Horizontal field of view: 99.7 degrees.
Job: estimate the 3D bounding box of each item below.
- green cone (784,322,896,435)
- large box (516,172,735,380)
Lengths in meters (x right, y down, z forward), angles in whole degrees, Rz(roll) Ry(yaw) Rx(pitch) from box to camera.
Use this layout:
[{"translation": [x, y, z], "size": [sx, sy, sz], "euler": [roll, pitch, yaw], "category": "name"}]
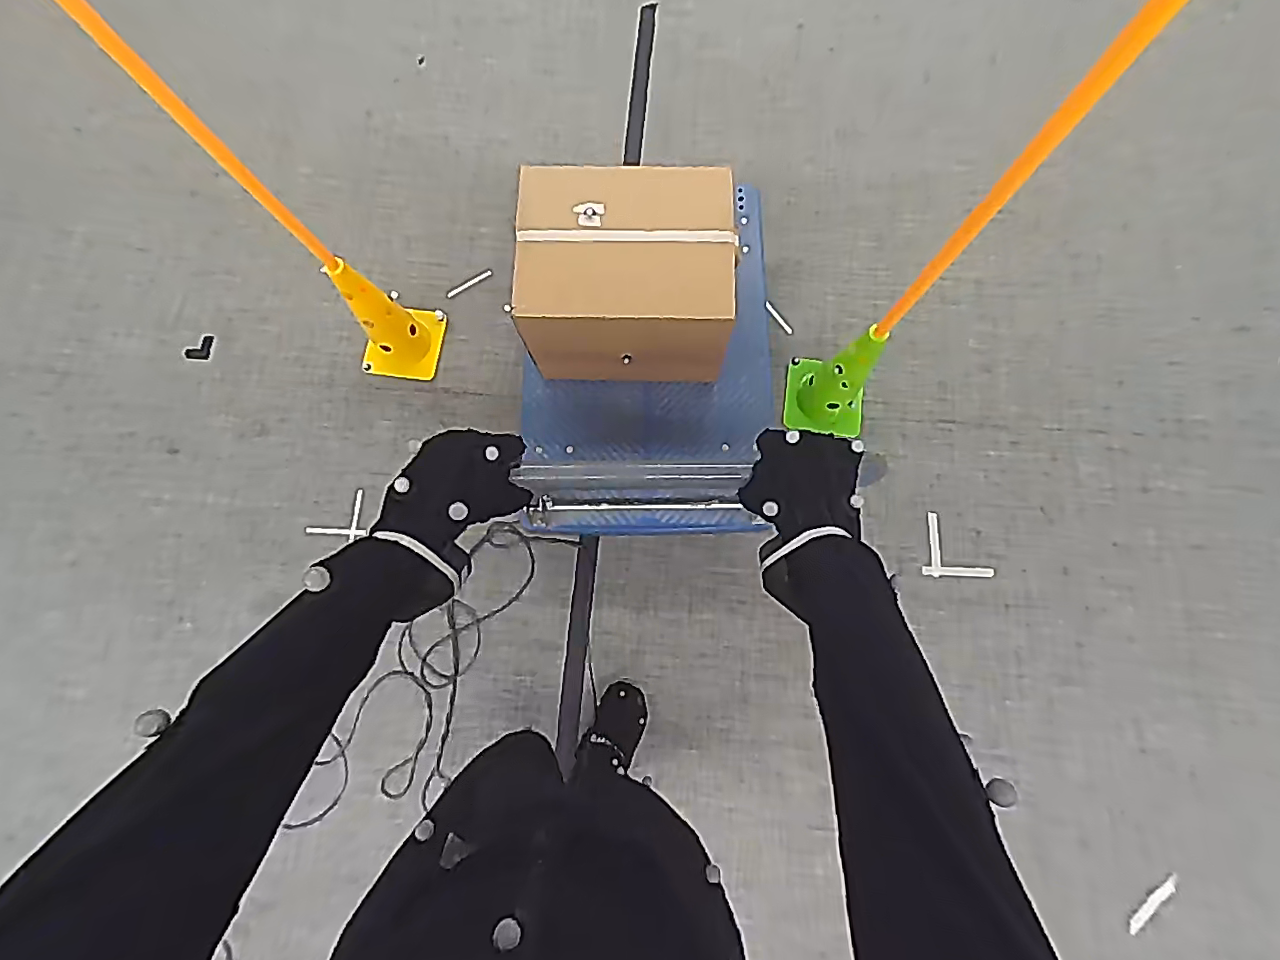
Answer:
[{"translation": [0.487, -0.259, 1.257], "size": [0.202, 0.368, 0.200], "euler": [9, 78, 1], "category": "green cone"}, {"translation": [-0.018, -0.409, 1.149], "size": [0.408, 0.320, 0.320], "euler": [1, 79, 2], "category": "large box"}]
